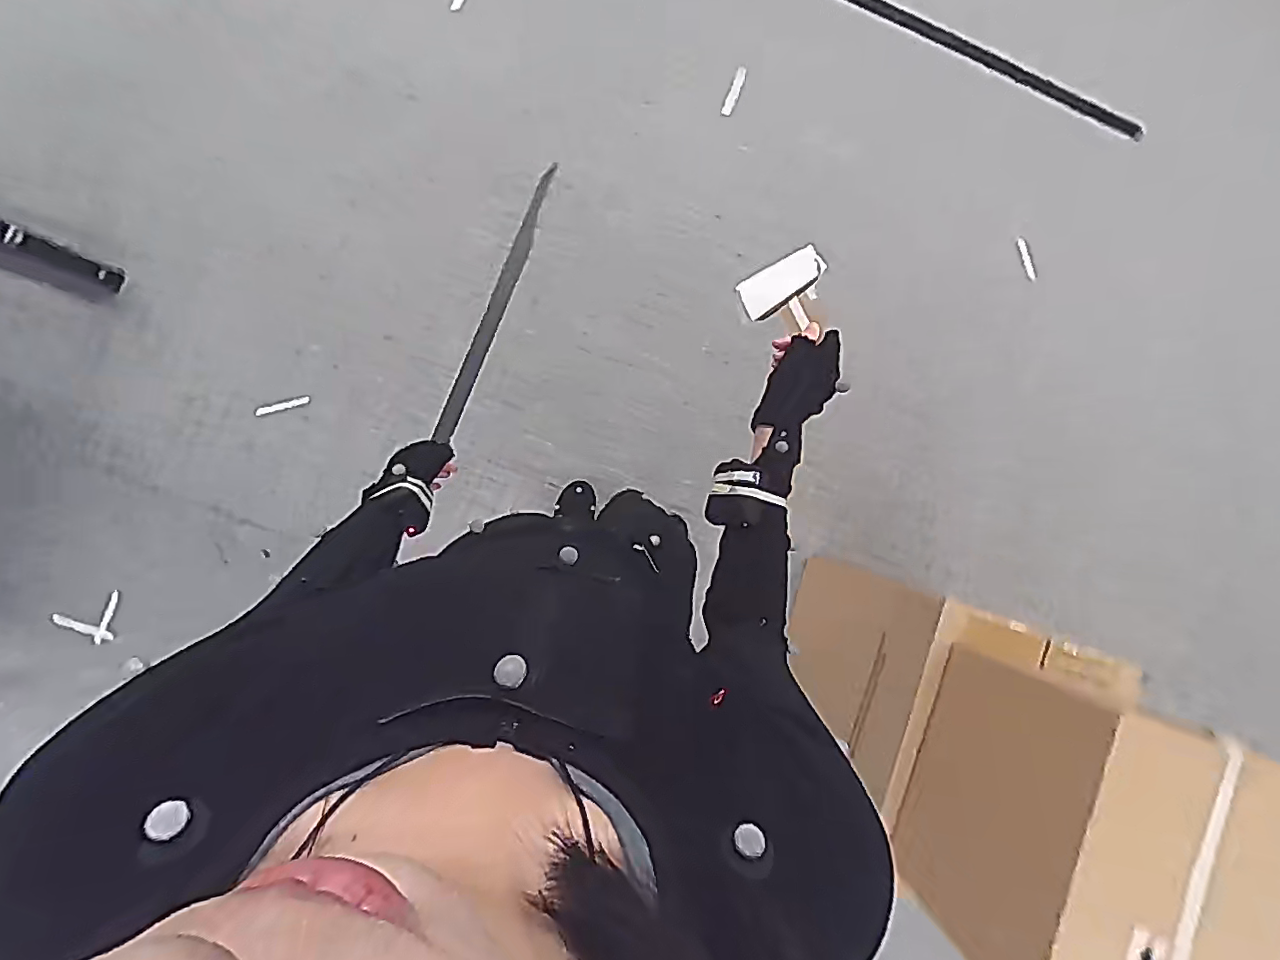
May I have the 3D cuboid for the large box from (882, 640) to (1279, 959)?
[{"bbox_3d":[0.639,0.513,0.826,0.320,0.320,0.408,19,88,-4],"label":"large box"}]
